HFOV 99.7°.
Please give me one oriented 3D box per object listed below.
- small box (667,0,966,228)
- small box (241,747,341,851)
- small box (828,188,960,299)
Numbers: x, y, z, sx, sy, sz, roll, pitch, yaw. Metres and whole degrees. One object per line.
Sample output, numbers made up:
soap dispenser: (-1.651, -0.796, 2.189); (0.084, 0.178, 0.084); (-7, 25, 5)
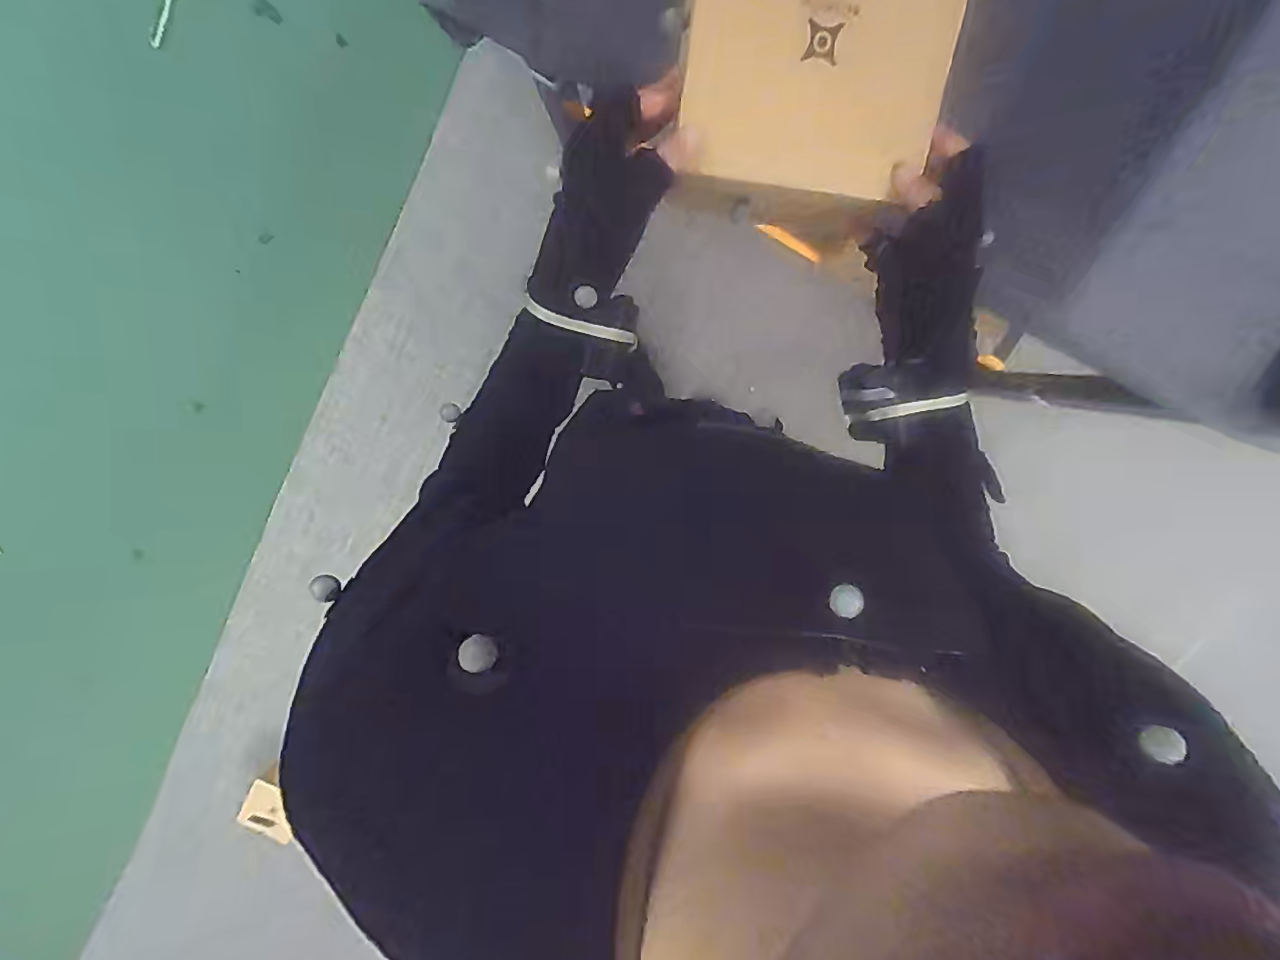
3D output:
small box: (0.112, -0.301, 0.406); (0.168, 0.176, 0.179); (6, 106, -2)
small box: (-1.049, 0.960, 1.639); (0.168, 0.176, 0.179); (29, 100, -5)
small box: (0.531, -0.509, 1.166); (0.168, 0.176, 0.179); (28, 103, -6)
